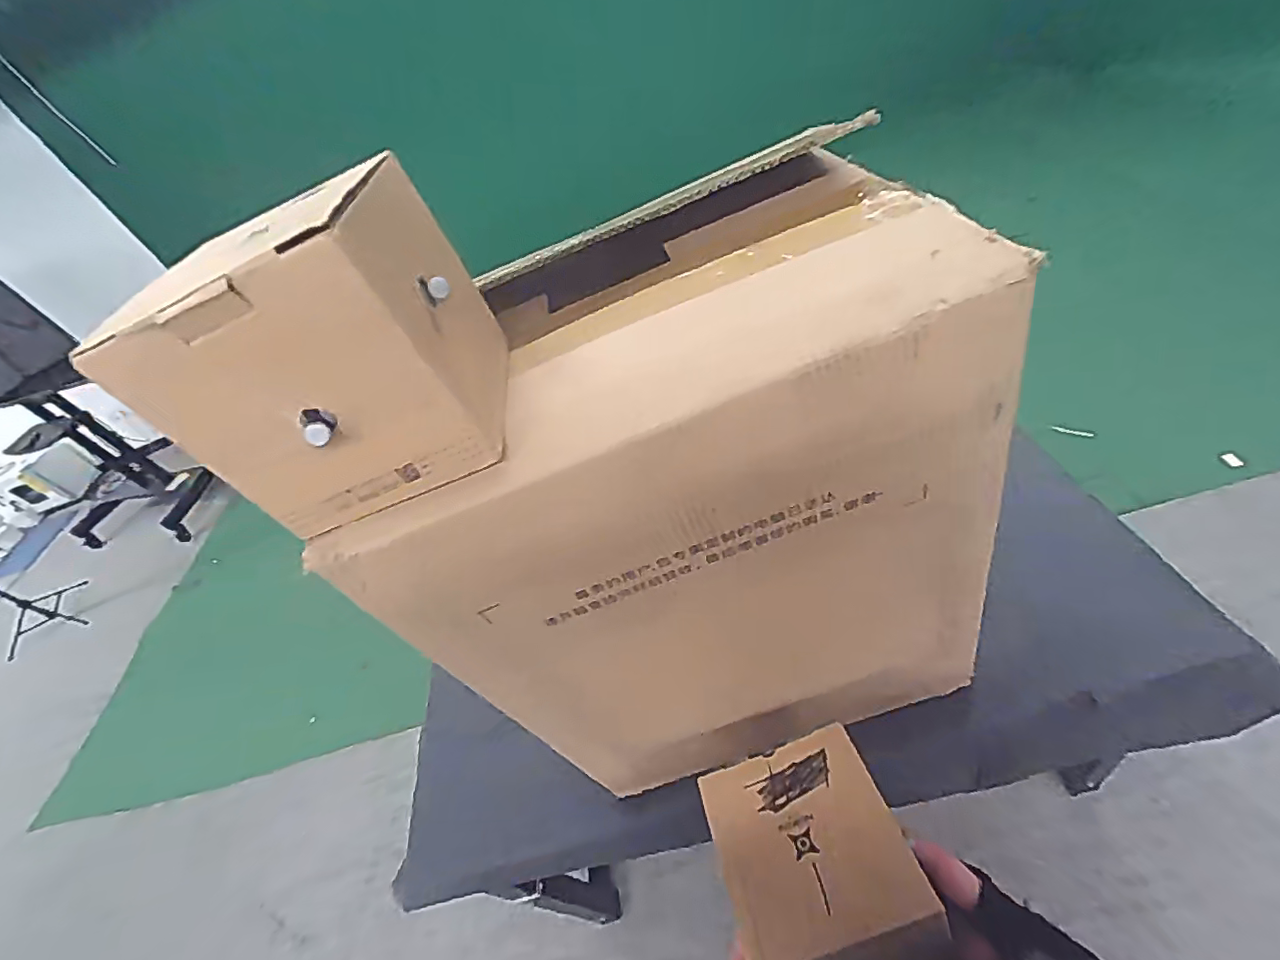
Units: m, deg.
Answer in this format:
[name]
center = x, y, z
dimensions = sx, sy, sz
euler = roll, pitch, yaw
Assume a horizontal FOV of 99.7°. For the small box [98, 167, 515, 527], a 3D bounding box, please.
[small box]
center = -0.204, -0.087, 0.395
dimensions = 0.168, 0.176, 0.179
euler = -21, 43, 7
